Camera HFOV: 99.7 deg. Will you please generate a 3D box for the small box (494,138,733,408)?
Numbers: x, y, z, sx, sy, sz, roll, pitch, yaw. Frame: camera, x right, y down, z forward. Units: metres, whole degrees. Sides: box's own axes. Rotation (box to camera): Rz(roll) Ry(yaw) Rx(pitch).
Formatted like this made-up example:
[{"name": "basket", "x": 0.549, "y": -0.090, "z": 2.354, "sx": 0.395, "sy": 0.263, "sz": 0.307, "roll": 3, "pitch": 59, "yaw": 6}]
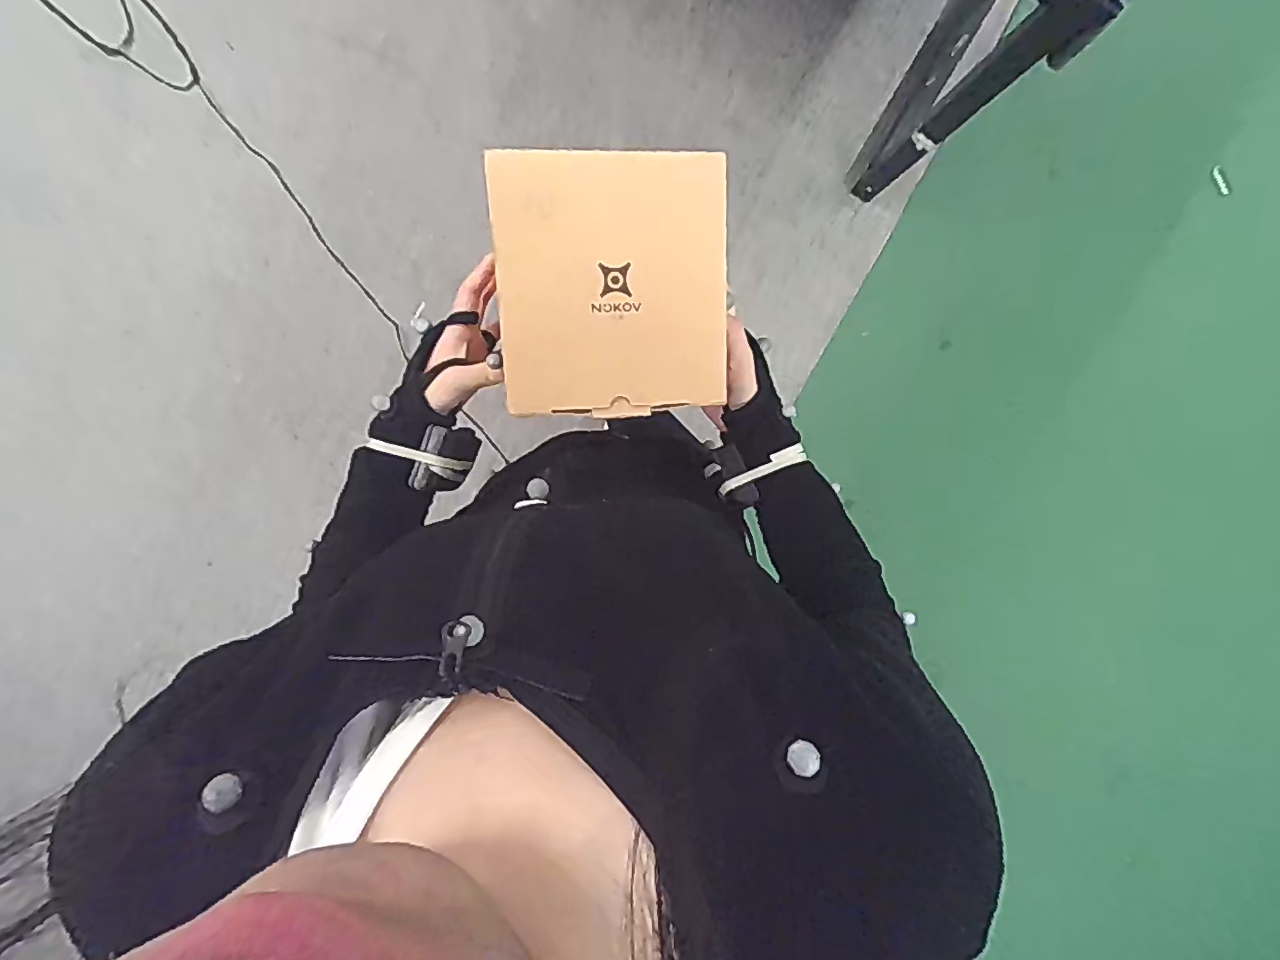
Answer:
[{"name": "small box", "x": -0.028, "y": -0.158, "z": 0.455, "sx": 0.168, "sy": 0.176, "sz": 0.179, "roll": -5, "pitch": 104, "yaw": -9}]
